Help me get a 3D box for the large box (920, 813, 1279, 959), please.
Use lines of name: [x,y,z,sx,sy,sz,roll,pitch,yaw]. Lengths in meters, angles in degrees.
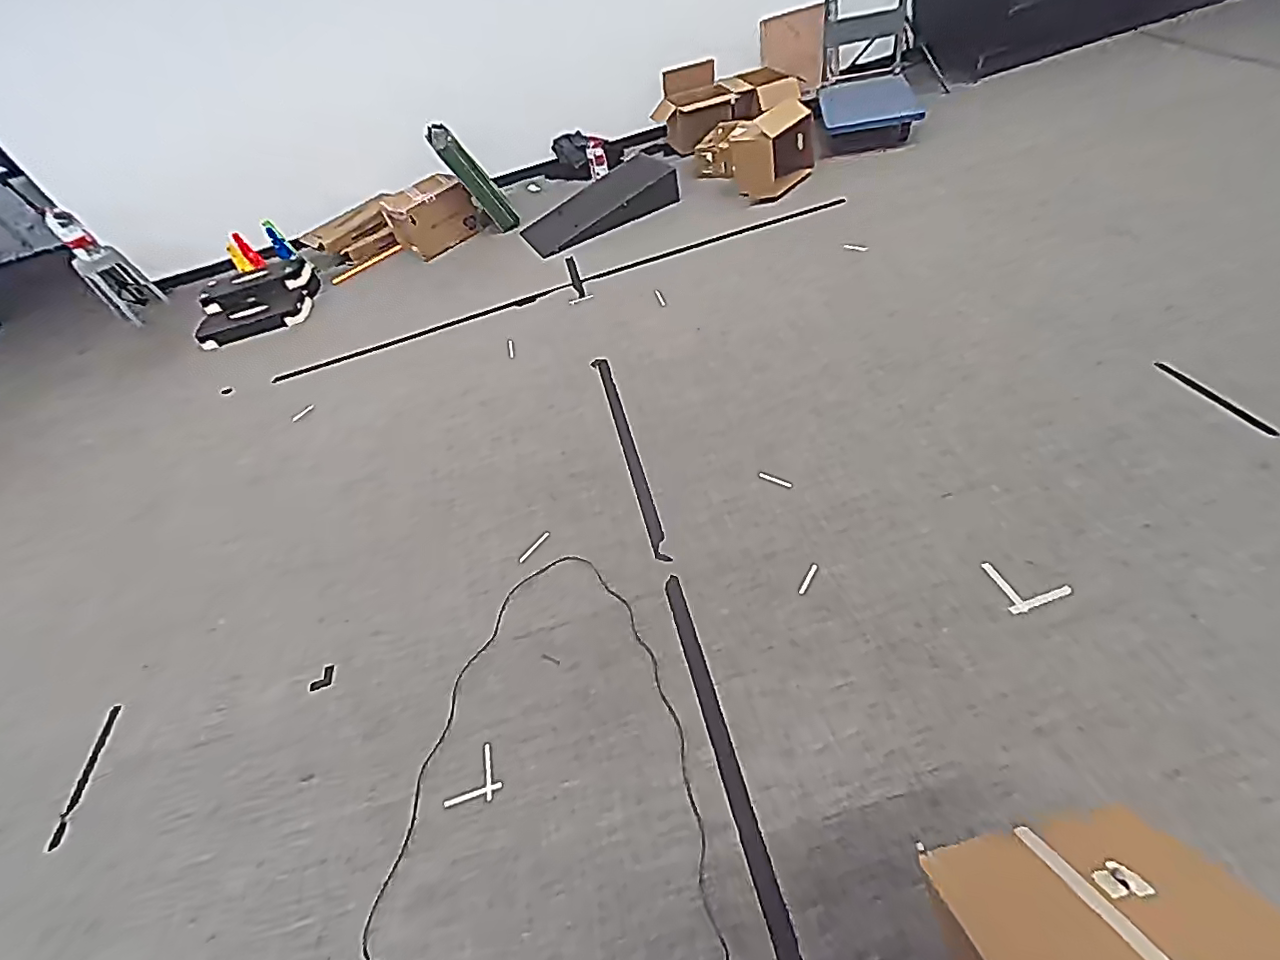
large box: [0.597,0.667,0.601,0.320,0.408,0.320,-15,85,3]
